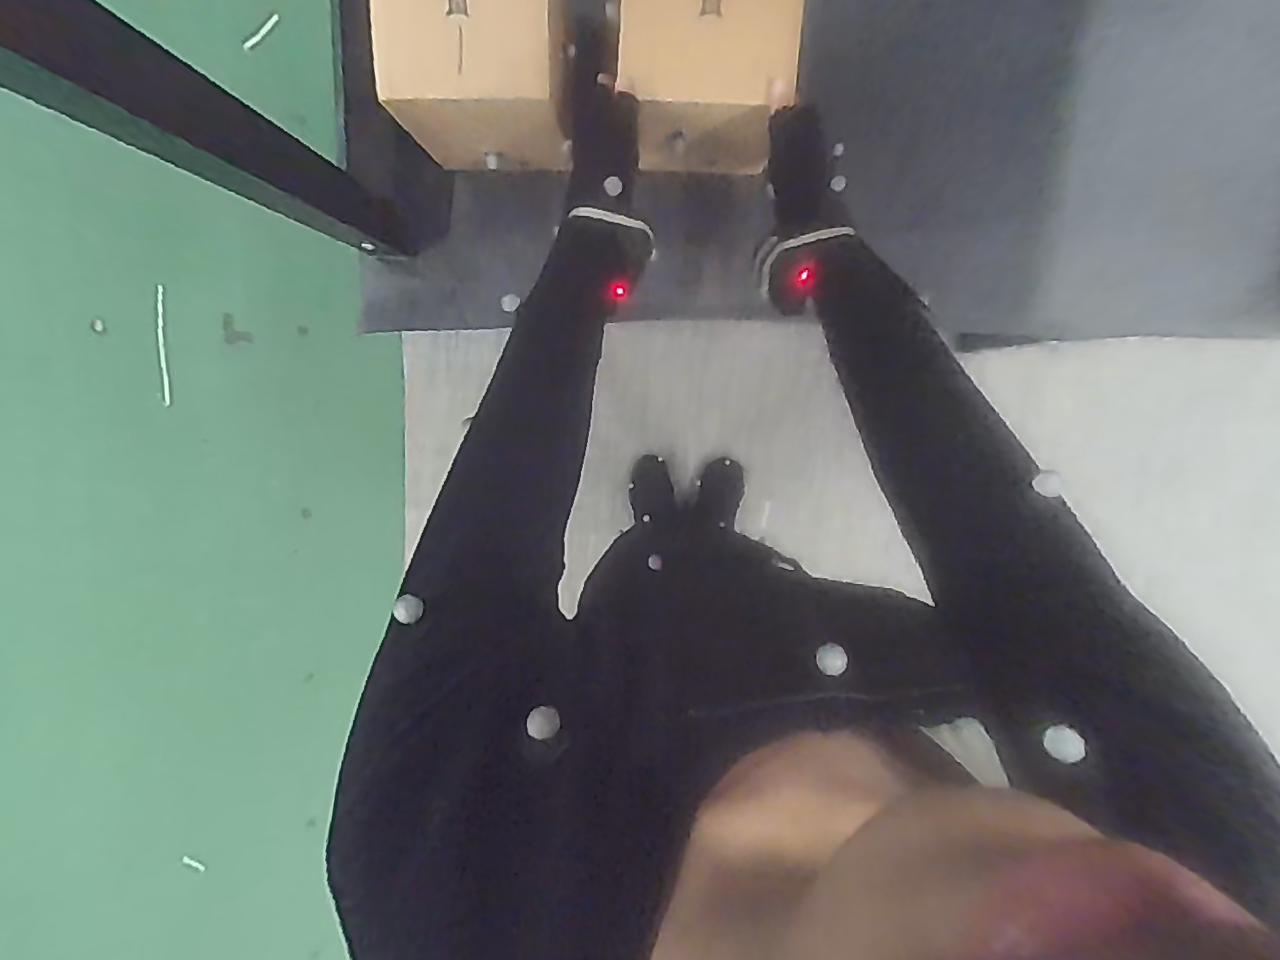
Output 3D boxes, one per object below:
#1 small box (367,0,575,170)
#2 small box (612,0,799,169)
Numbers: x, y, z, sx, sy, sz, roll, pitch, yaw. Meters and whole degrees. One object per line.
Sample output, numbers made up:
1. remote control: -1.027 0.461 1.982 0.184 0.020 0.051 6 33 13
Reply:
1. small box: -0.162 -0.453 0.564 0.168 0.176 0.179 1 99 2
2. small box: 0.065 -0.447 0.558 0.168 0.176 0.179 3 98 2
